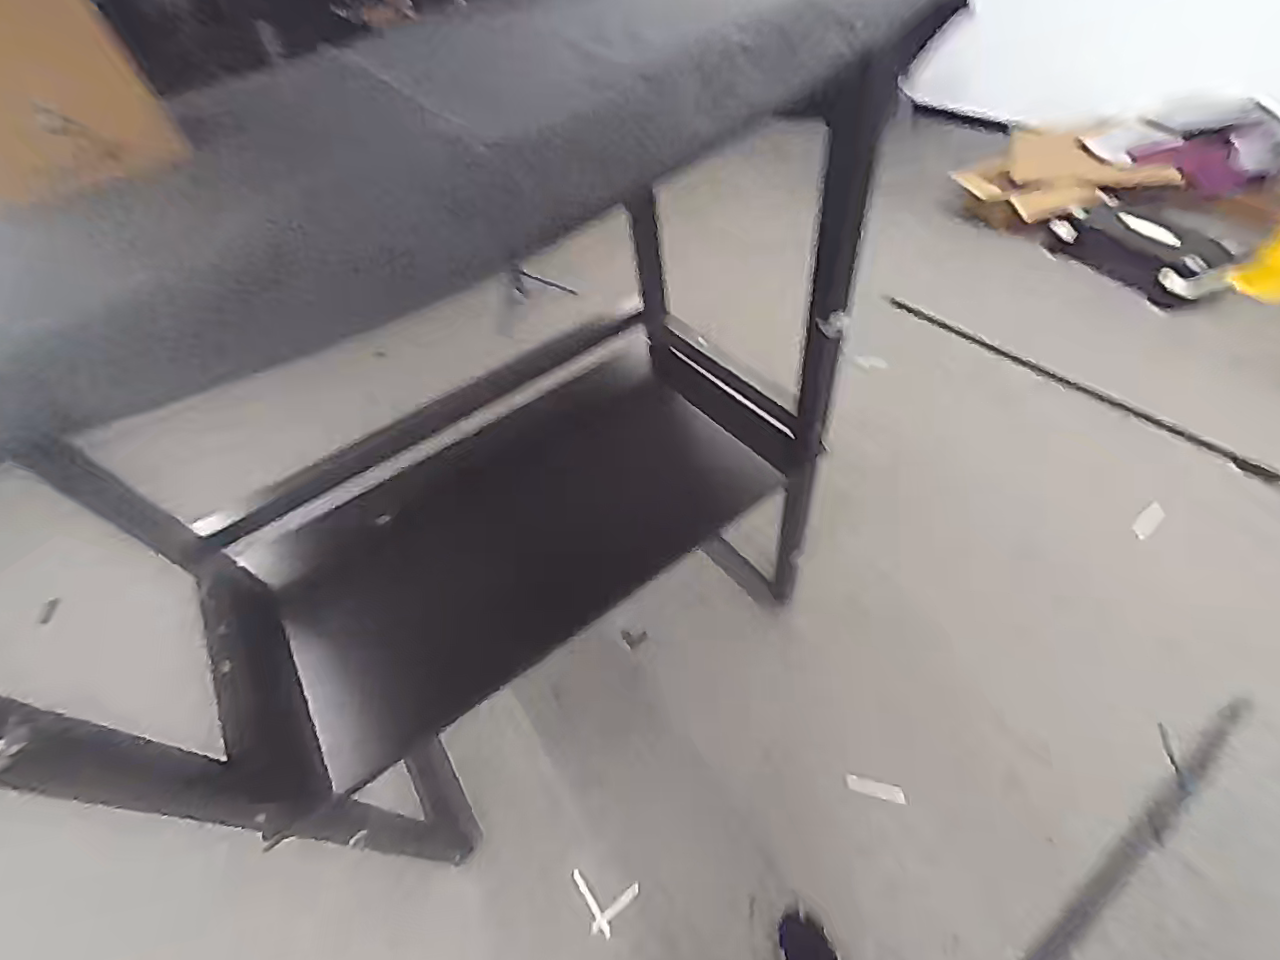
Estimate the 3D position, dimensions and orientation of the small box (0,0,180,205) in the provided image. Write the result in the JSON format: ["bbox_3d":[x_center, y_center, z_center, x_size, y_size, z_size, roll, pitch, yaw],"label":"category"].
[{"bbox_3d":[-0.584,-0.384,0.503,0.168,0.176,0.179,-36,55,-18],"label":"small box"}]
